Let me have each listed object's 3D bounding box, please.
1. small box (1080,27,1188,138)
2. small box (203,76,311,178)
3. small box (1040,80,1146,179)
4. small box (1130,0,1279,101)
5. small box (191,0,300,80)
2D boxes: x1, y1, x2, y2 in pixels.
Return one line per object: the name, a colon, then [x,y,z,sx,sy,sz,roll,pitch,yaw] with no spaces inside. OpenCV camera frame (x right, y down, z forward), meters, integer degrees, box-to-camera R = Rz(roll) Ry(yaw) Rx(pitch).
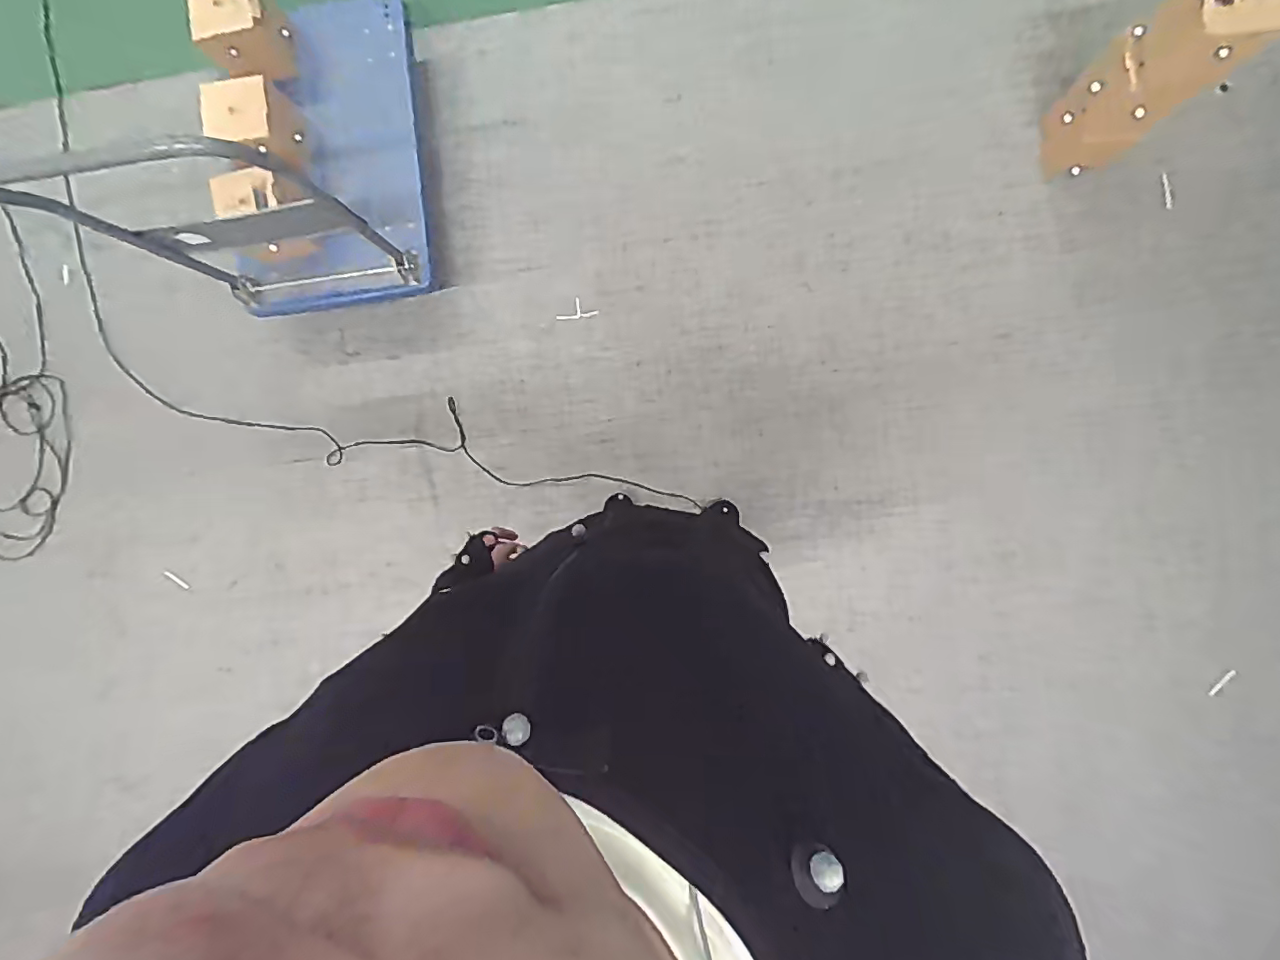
small box: [1.235,-0.982,1.342,0.179,0.176,0.168,-2,89,6]
small box: [-1.047,-0.960,1.486,0.179,0.176,0.168,-6,89,3]
small box: [1.251,-0.974,1.505,0.168,0.176,0.179,-1,89,5]
small box: [1.231,-0.976,1.194,0.179,0.176,0.168,-3,89,4]
small box: [-1.082,-1.238,1.489,0.179,0.176,0.168,-7,90,4]
